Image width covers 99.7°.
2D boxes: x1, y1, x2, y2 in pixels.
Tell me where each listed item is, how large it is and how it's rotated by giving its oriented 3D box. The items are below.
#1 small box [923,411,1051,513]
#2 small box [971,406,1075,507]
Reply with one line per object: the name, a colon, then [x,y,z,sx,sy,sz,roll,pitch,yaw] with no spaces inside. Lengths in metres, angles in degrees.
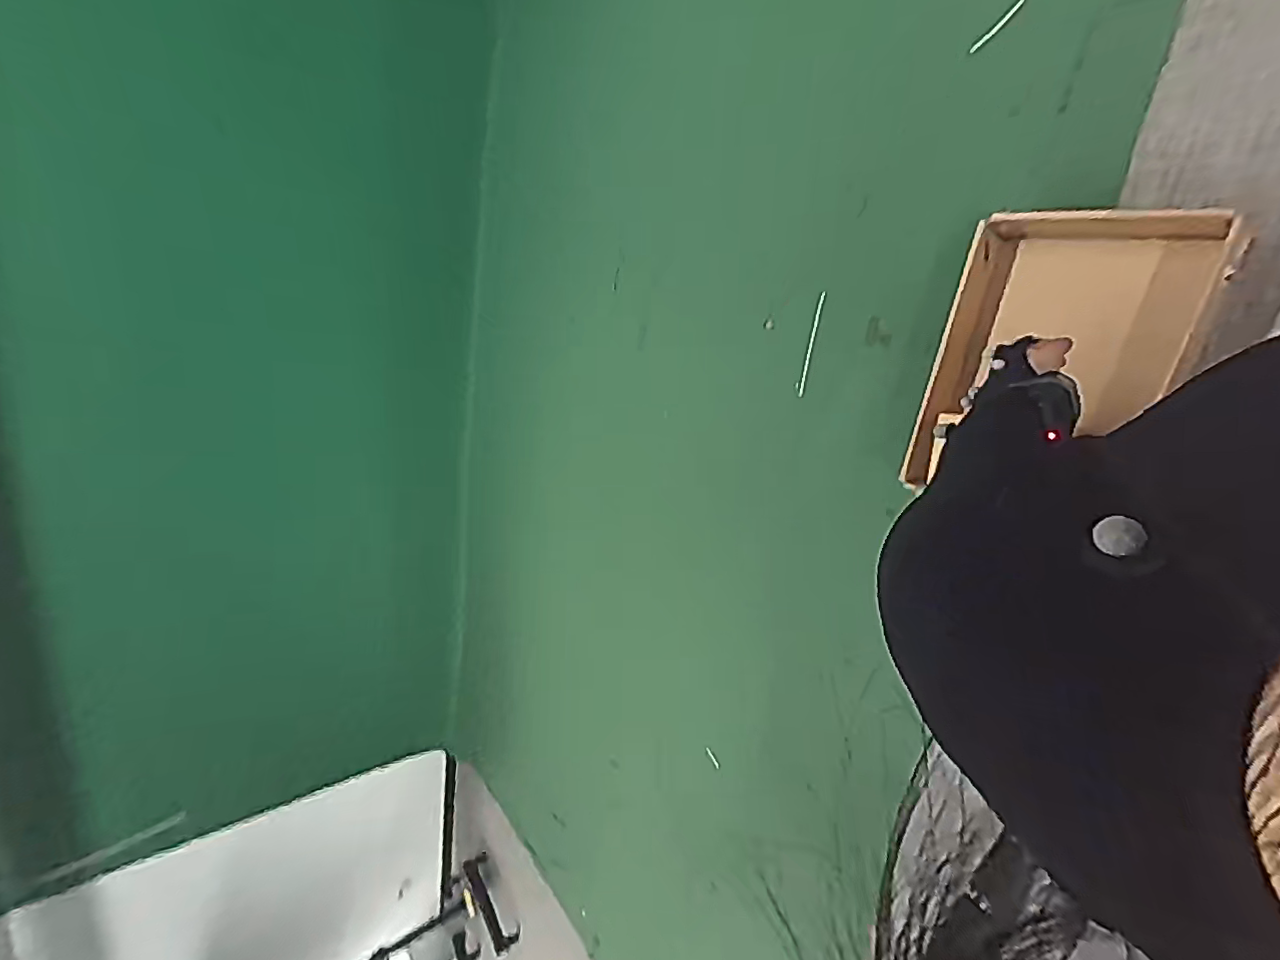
small box: [0.690,-0.042,1.074,0.168,0.176,0.179,13,102,45]
small box: [0.813,-0.059,1.182,0.168,0.176,0.179,27,114,43]
